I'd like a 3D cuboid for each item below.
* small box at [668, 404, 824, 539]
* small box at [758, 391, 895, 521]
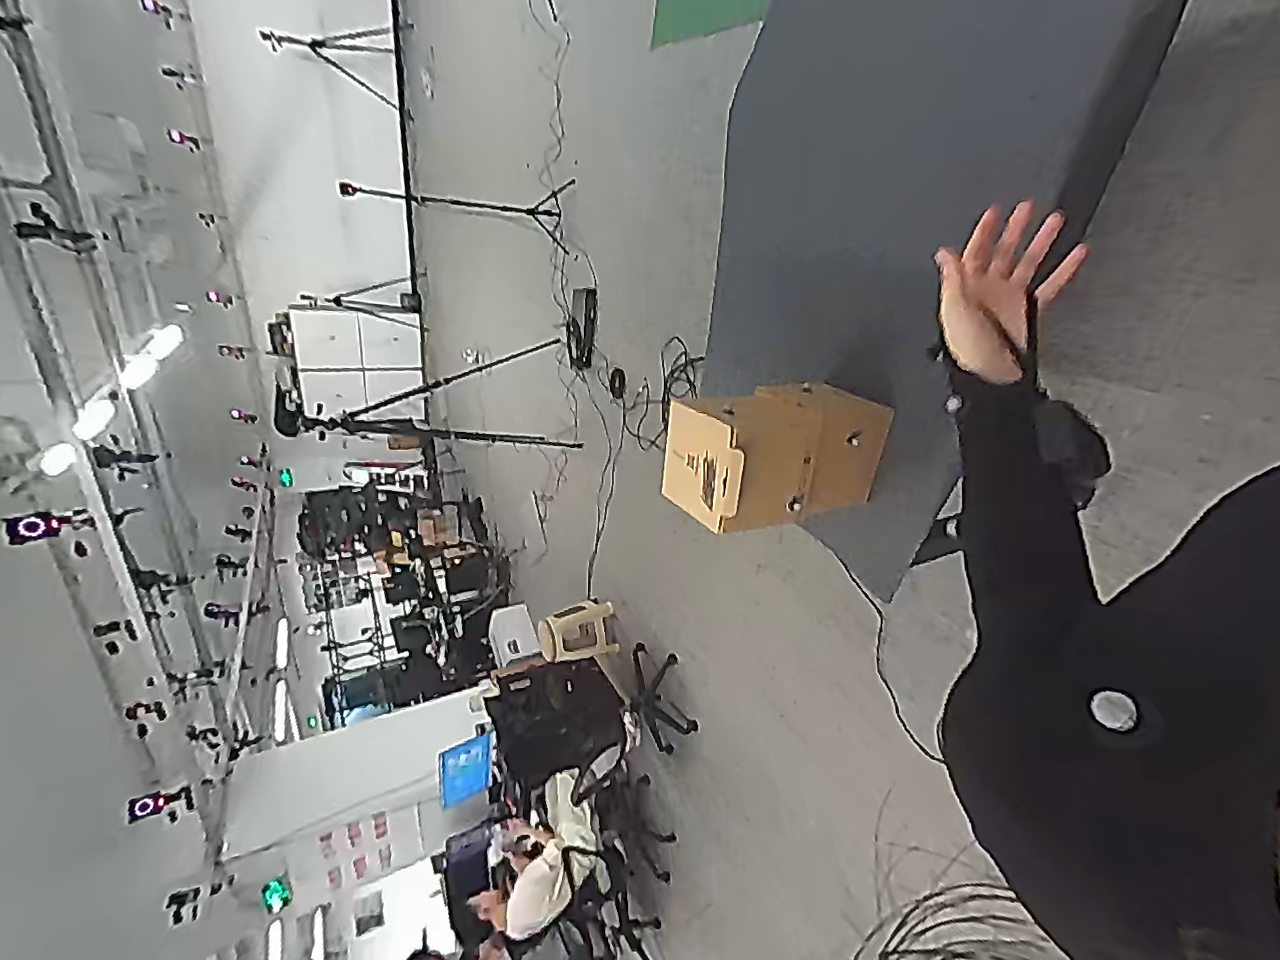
[{"bbox_3d":[0.166,-0.025,0.868,0.179,0.176,0.168,37,127,56],"label":"small box"},{"bbox_3d":[0.310,-0.052,0.942,0.168,0.176,0.179,42,132,53],"label":"small box"}]
